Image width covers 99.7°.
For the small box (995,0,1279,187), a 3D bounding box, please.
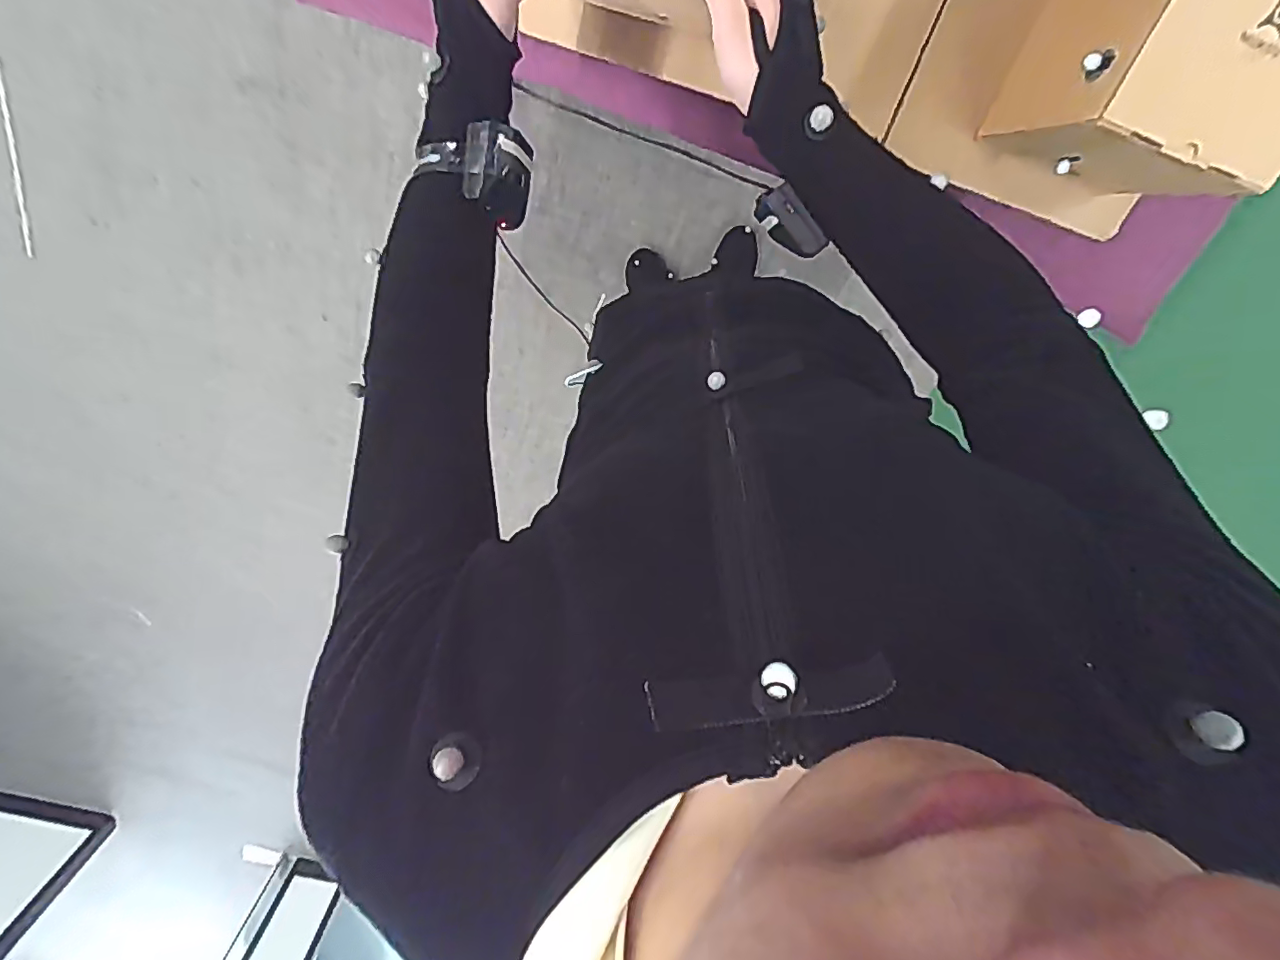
[{"bbox_3d":[0.444,-0.361,0.442,0.168,0.176,0.179,14,119,-9],"label":"small box"}]
